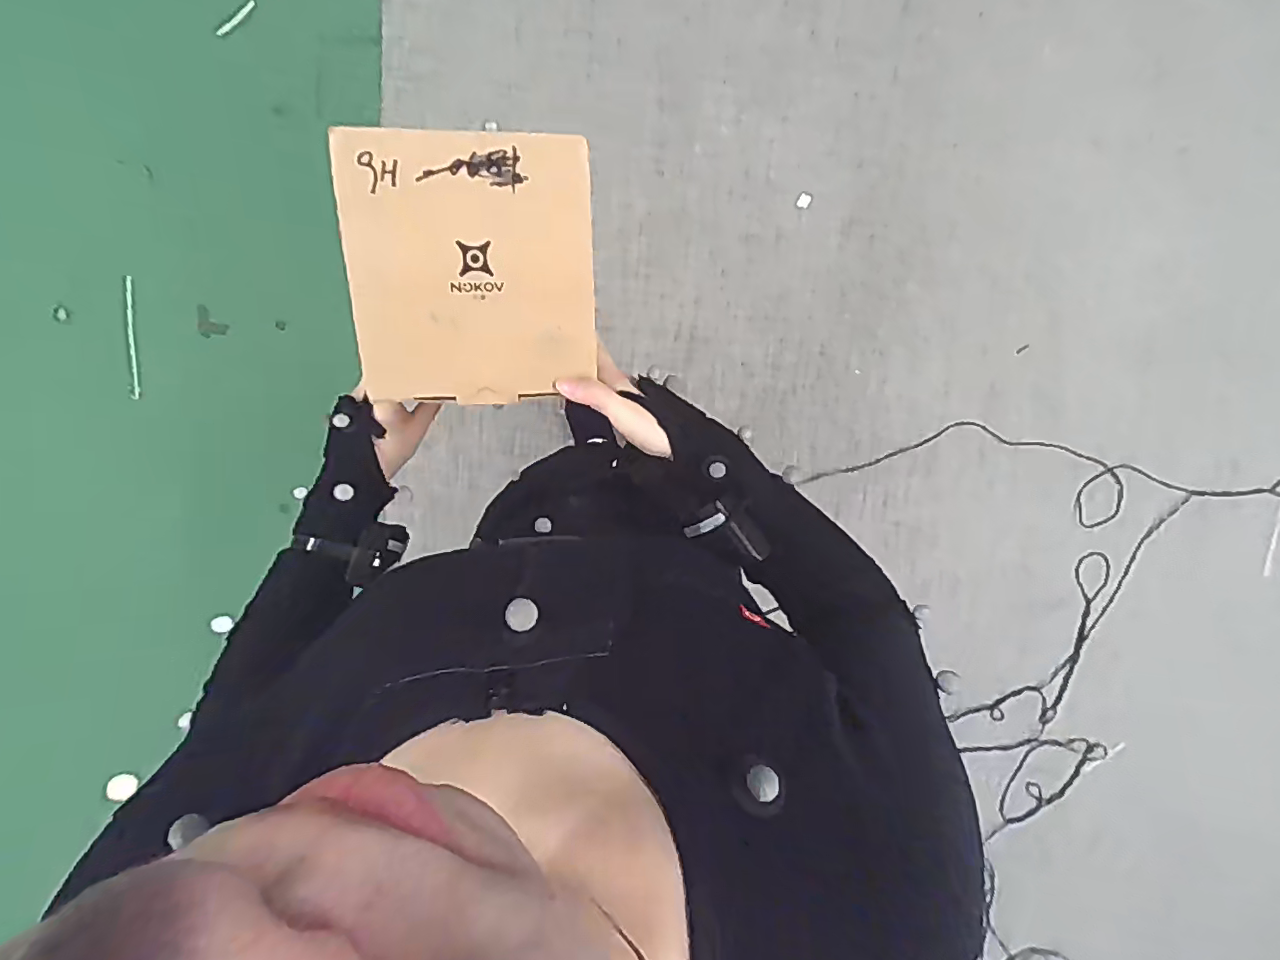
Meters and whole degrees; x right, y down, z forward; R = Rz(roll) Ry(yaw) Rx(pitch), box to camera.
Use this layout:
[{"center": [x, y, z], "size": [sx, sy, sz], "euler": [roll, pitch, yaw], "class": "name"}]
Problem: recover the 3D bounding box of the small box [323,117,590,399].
[{"center": [-0.127, -0.165, 0.444], "size": [0.168, 0.176, 0.179], "euler": [-3, 106, -9], "class": "small box"}]
